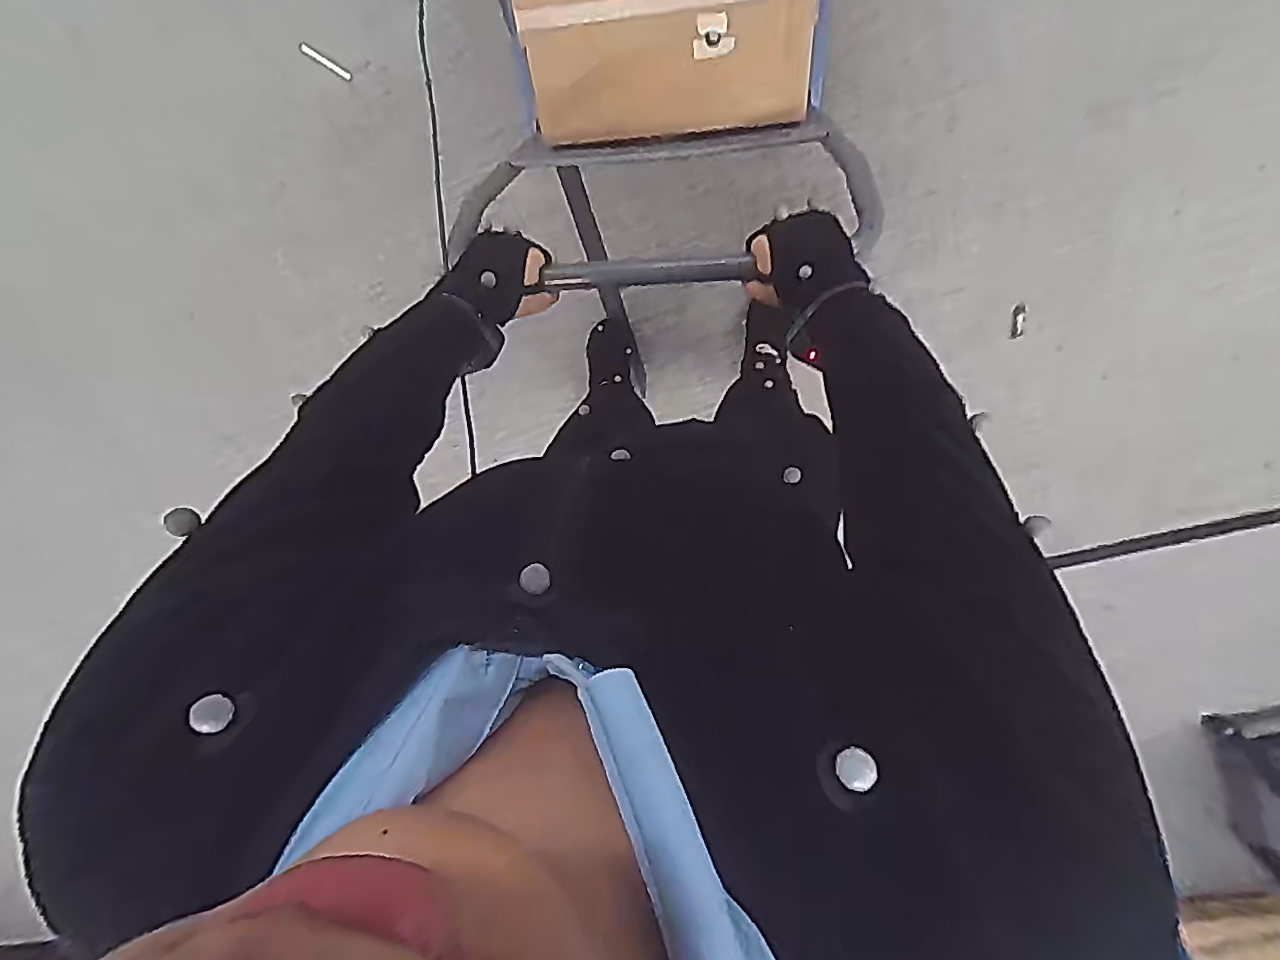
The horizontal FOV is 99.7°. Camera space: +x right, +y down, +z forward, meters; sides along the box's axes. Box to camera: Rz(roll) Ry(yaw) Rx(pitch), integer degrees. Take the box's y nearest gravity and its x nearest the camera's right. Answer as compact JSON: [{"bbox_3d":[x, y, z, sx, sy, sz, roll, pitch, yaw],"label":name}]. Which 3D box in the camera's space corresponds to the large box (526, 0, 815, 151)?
[{"bbox_3d":[0.049,-0.750,0.867,0.408,0.320,0.320,-2,129,7],"label":"large box"}]
